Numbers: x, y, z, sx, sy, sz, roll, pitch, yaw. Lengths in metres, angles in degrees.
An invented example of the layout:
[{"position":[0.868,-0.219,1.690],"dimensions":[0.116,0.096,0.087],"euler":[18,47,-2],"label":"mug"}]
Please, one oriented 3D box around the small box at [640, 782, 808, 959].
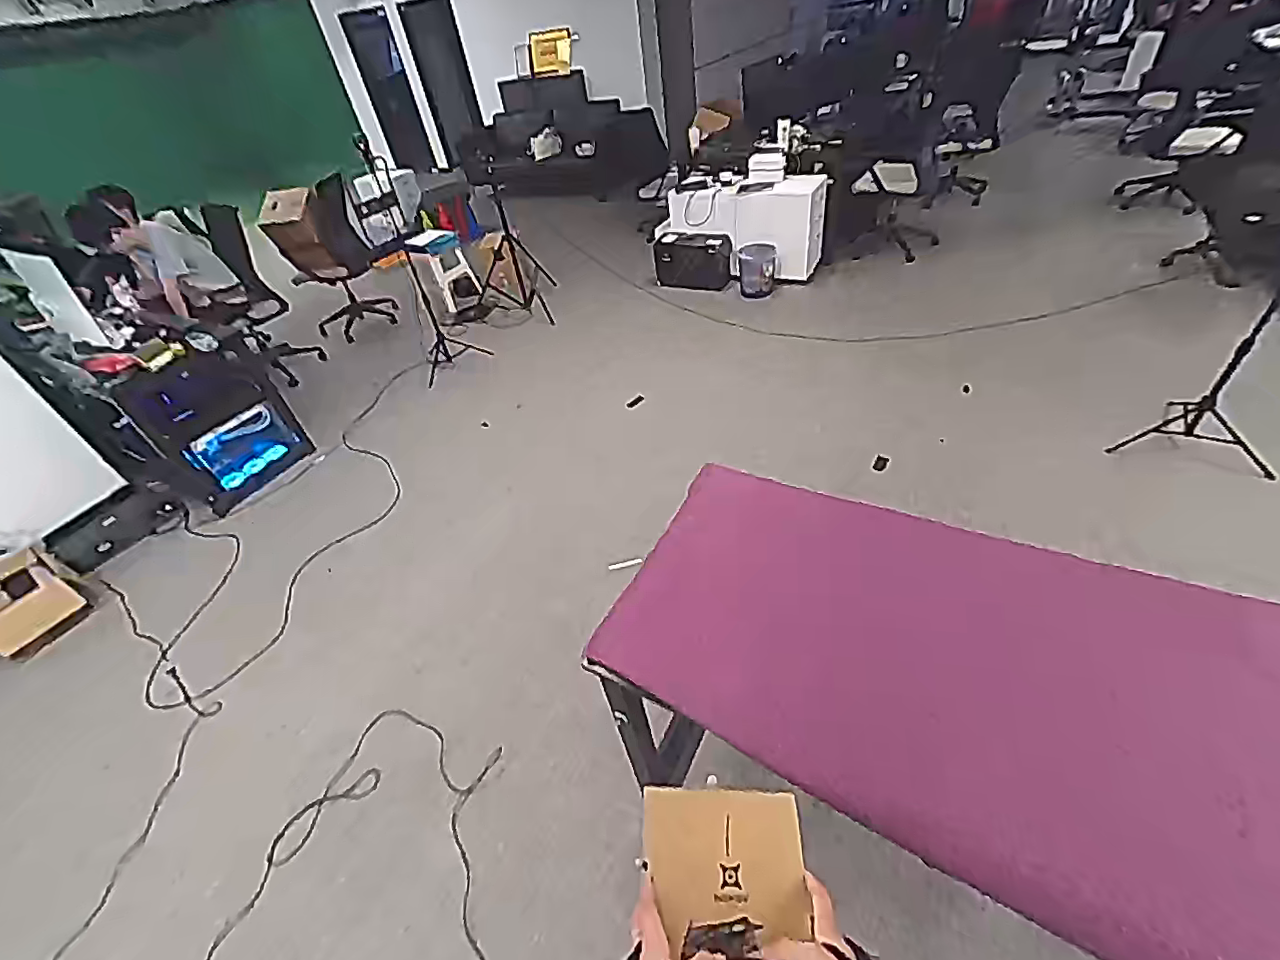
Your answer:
[{"position":[0.089,0.467,0.647],"dimensions":[0.168,0.176,0.179],"euler":[4,61,-2],"label":"small box"}]
